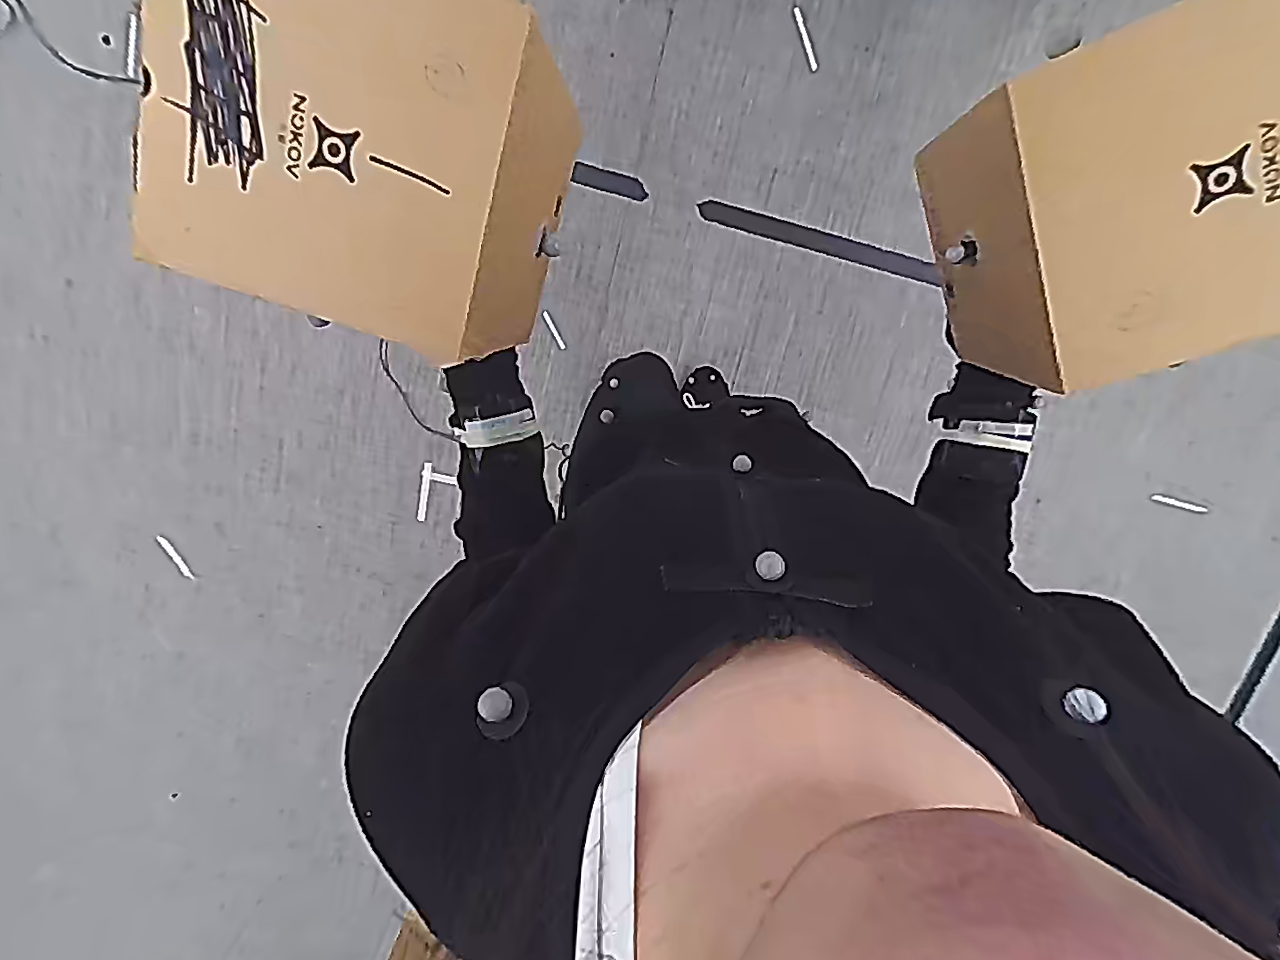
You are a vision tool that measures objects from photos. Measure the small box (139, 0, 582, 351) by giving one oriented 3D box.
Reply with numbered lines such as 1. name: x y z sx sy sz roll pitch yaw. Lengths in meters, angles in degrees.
1. small box: -0.148 -0.190 0.336 0.179 0.176 0.168 17 108 -4

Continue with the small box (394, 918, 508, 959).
1. small box: -0.305 0.797 0.789 0.168 0.176 0.179 17 104 -1

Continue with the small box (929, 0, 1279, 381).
1. small box: 0.300 -0.176 0.332 0.179 0.176 0.168 -18 106 16
